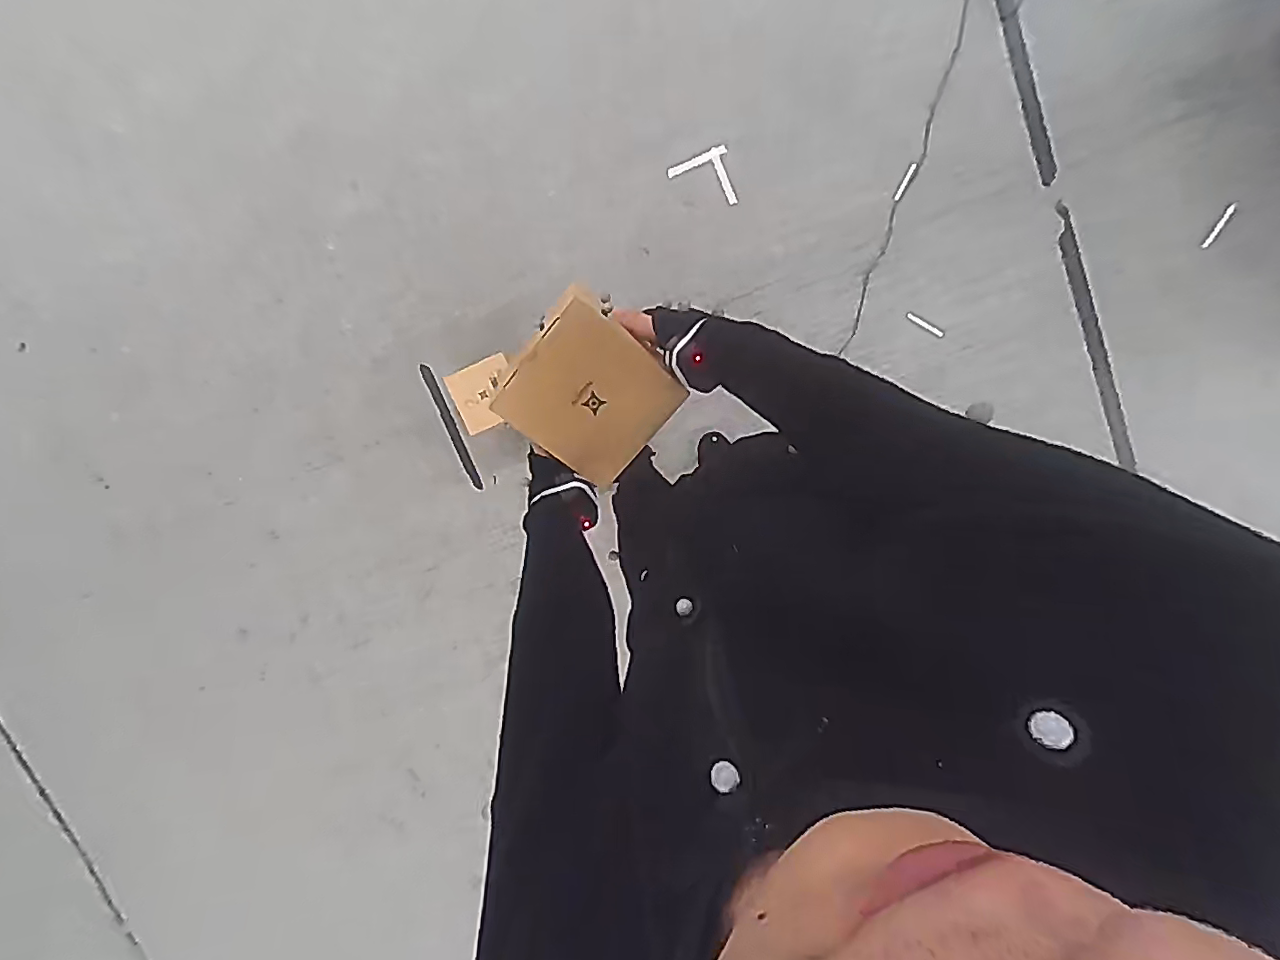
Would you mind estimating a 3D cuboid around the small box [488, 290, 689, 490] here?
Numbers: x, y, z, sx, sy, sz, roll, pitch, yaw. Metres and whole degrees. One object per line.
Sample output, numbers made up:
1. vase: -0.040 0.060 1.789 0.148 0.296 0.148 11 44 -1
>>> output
1. small box: -0.065 -0.124 0.695 0.179 0.176 0.168 37 106 -19
